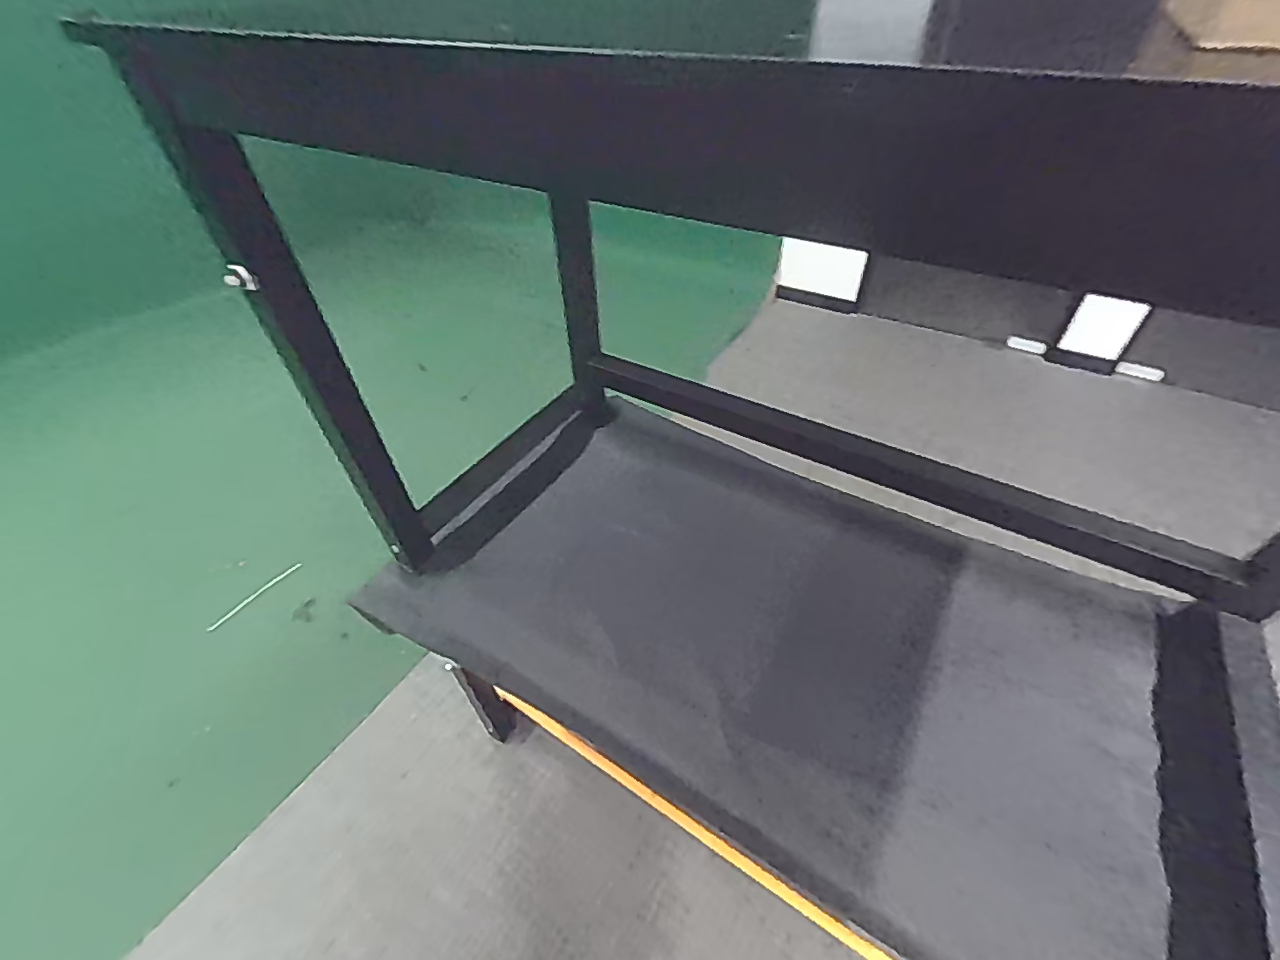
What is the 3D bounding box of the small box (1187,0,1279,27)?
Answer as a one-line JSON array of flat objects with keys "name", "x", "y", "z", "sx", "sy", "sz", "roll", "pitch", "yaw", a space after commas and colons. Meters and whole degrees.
[{"name": "small box", "x": 0.293, "y": -0.227, "z": 0.139, "sx": 0.168, "sy": 0.176, "sz": 0.179, "roll": 22, "pitch": 49, "yaw": 24}]
